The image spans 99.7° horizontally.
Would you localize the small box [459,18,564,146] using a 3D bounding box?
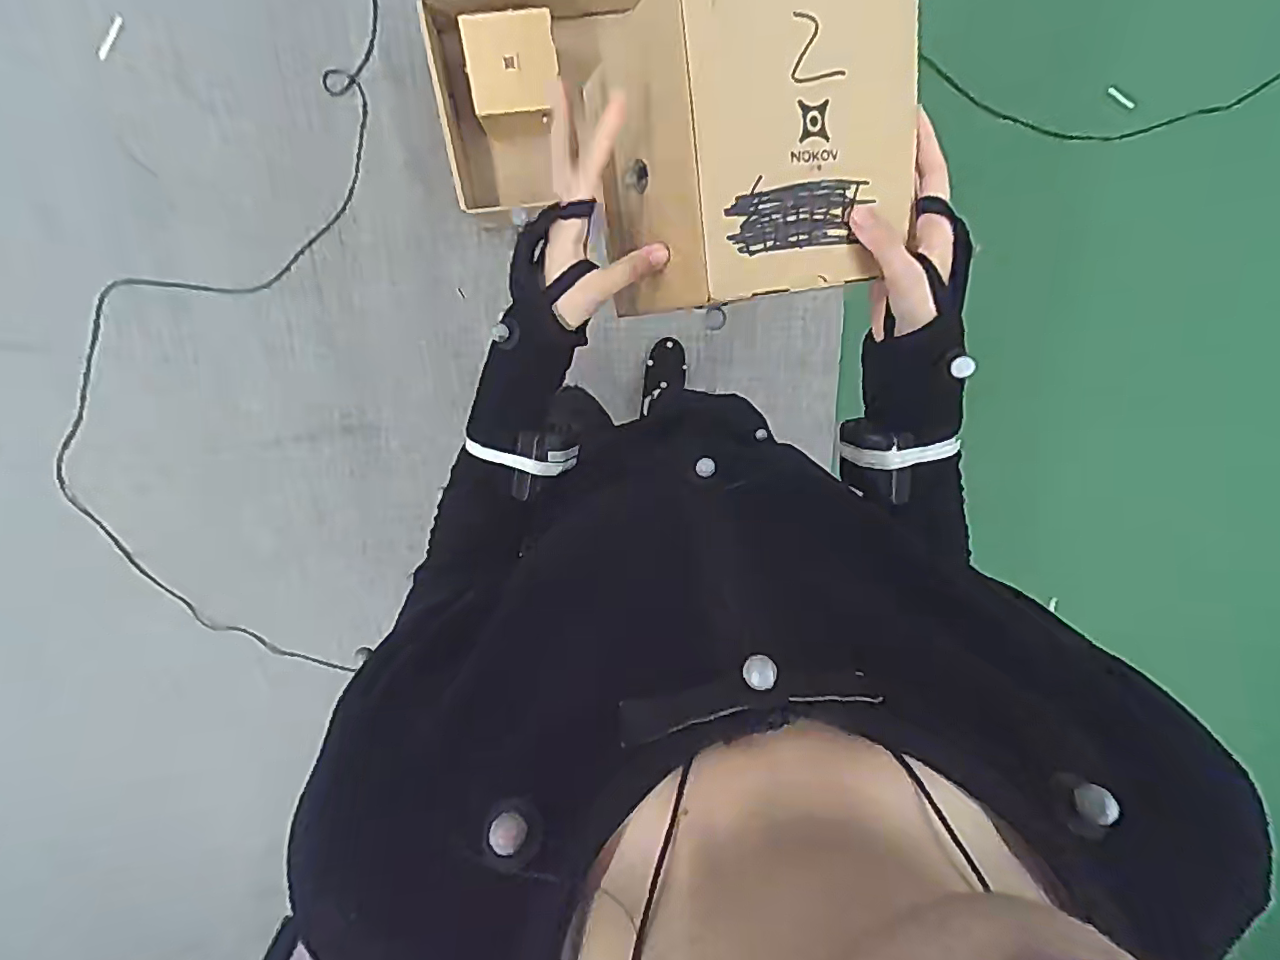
[{"bbox_3d":[-0.260,-0.822,1.134,0.179,0.176,0.168,-8,107,-4],"label":"small box"}]
